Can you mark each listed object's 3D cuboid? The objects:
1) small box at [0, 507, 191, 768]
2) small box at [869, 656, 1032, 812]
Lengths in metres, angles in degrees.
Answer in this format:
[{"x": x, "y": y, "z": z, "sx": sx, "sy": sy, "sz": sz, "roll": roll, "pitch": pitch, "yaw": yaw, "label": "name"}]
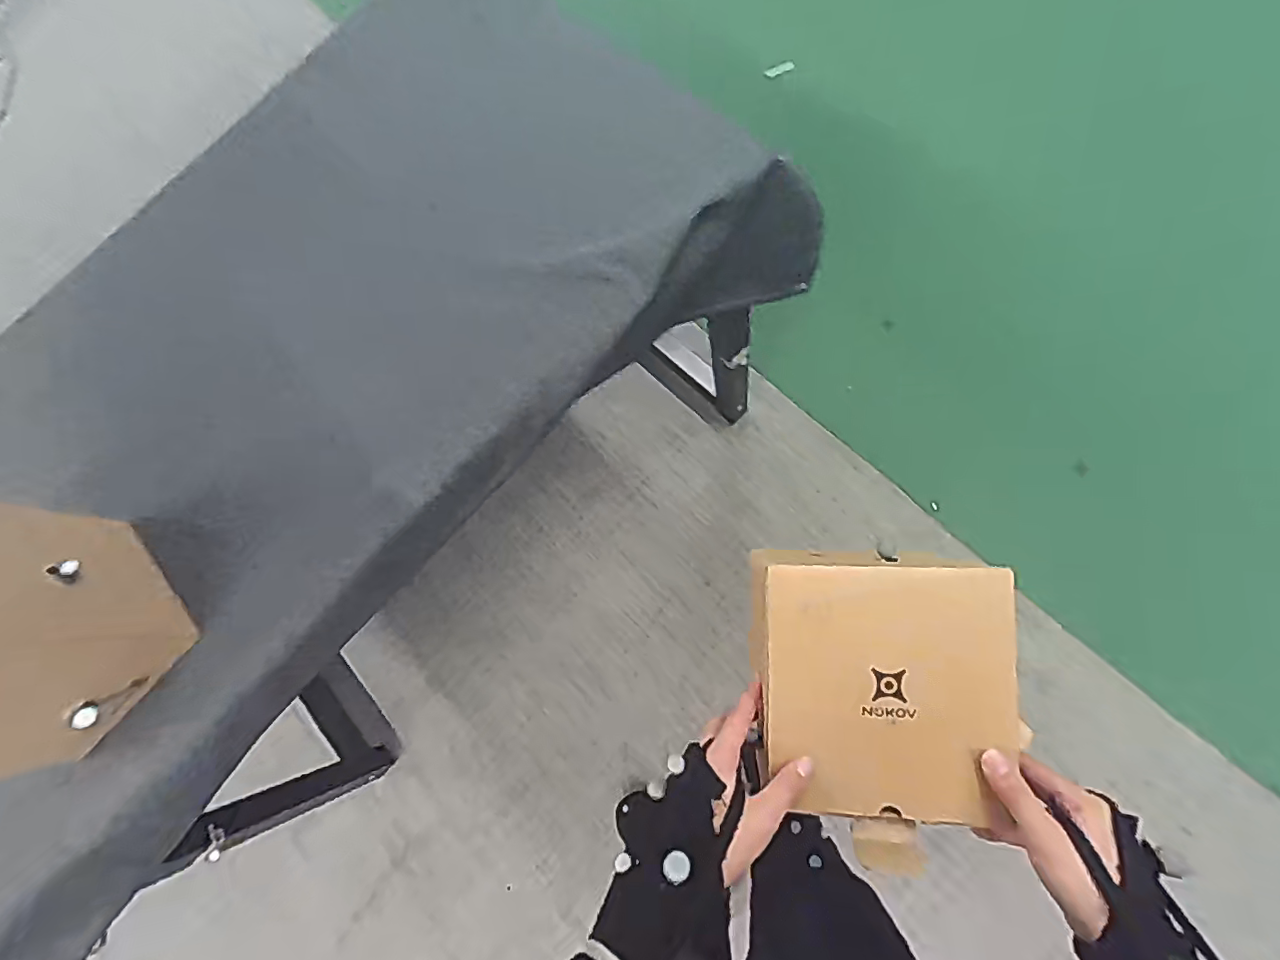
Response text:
[{"x": -0.568, "y": 0.140, "z": 0.480, "sx": 0.179, "sy": 0.176, "sz": 0.168, "roll": 42, "pitch": 87, "yaw": 16, "label": "small box"}, {"x": 0.537, "y": 0.441, "z": 0.970, "sx": 0.179, "sy": 0.176, "sz": 0.168, "roll": -44, "pitch": 73, "yaw": -2, "label": "small box"}]
